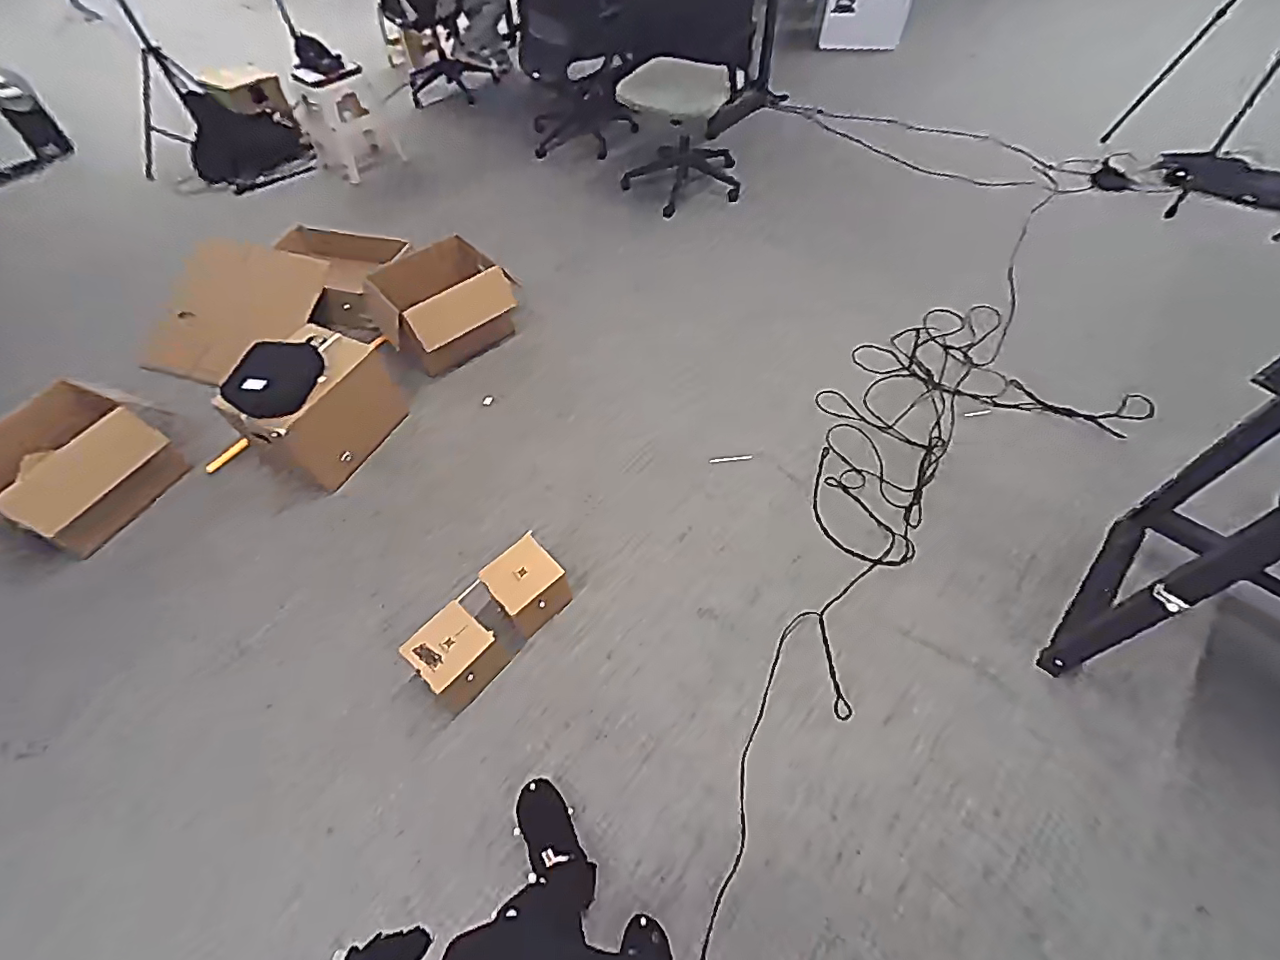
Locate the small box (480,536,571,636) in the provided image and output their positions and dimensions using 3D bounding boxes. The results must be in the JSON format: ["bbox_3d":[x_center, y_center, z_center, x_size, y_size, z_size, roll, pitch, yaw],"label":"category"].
[{"bbox_3d":[-0.305,0.295,1.486,0.179,0.176,0.168,-40,62,-21],"label":"small box"}]

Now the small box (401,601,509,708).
[{"bbox_3d":[-0.463,0.451,1.383,0.168,0.176,0.179,34,62,24],"label":"small box"}]
